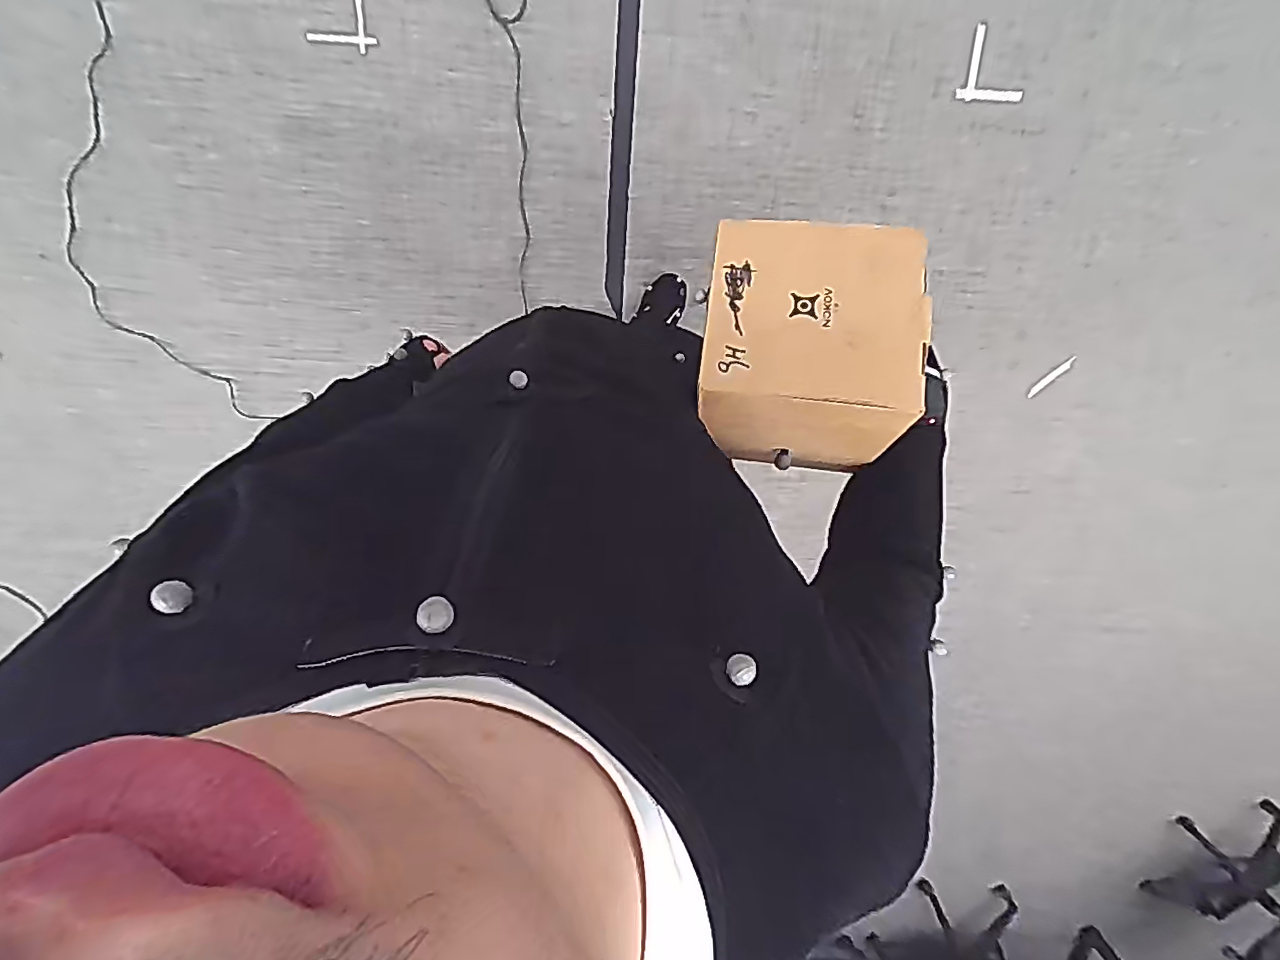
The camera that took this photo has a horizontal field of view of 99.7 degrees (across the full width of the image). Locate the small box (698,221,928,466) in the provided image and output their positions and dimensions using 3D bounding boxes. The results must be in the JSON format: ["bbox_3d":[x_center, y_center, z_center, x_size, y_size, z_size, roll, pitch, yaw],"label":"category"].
[{"bbox_3d":[0.156,-0.121,0.533,0.179,0.176,0.168,8,74,7],"label":"small box"}]
